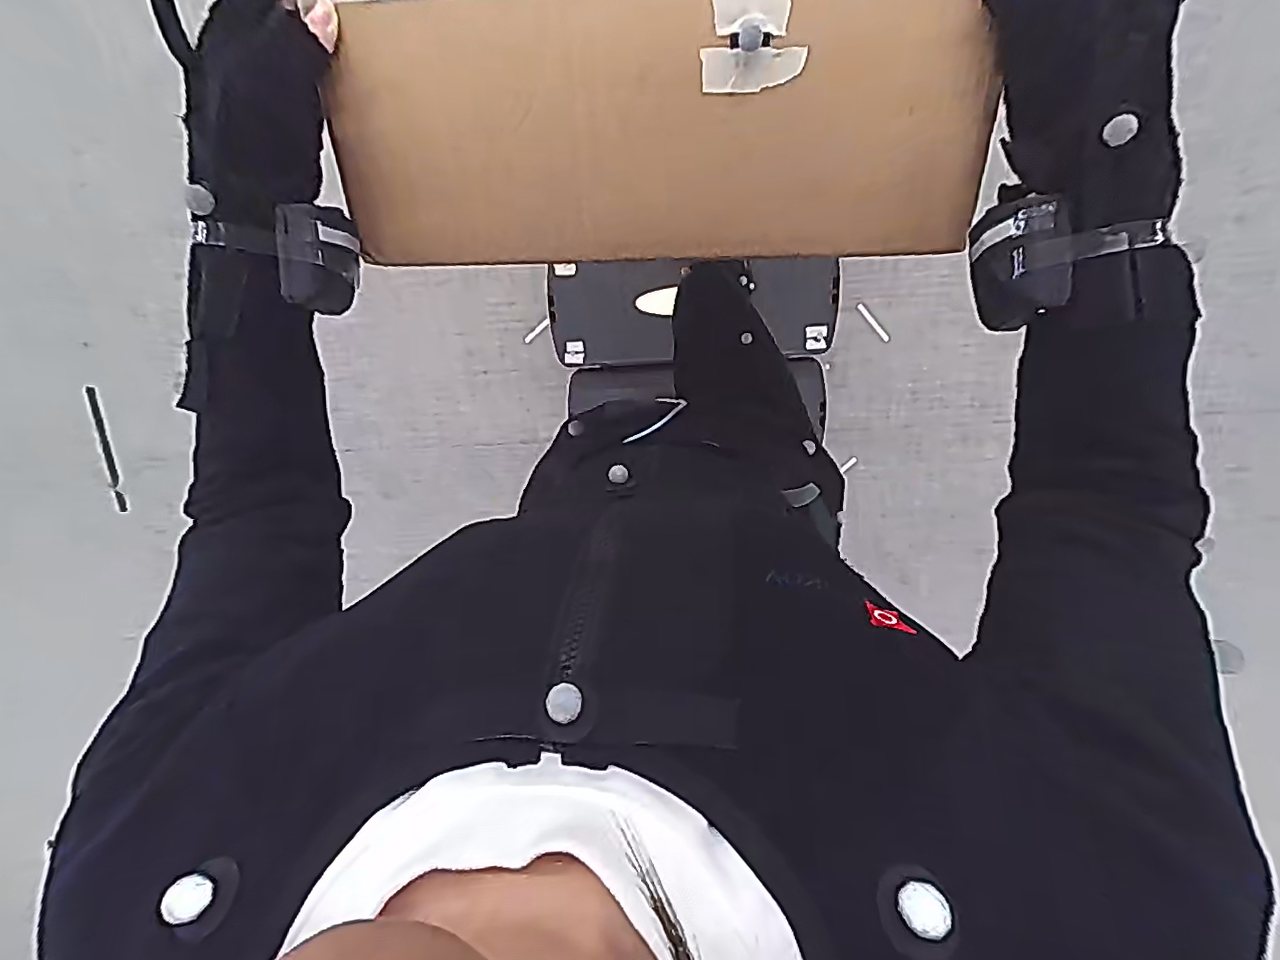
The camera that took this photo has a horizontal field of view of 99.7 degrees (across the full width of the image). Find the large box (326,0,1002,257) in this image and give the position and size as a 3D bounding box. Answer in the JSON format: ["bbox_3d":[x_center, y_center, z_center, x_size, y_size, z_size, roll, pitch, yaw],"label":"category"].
[{"bbox_3d":[0.019,-0.366,0.438,0.408,0.320,0.320,1,117,8],"label":"large box"}]

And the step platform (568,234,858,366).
[{"bbox_3d":[0.167,-0.443,1.322,0.684,0.204,0.286,-2,105,6],"label":"step platform"}]
